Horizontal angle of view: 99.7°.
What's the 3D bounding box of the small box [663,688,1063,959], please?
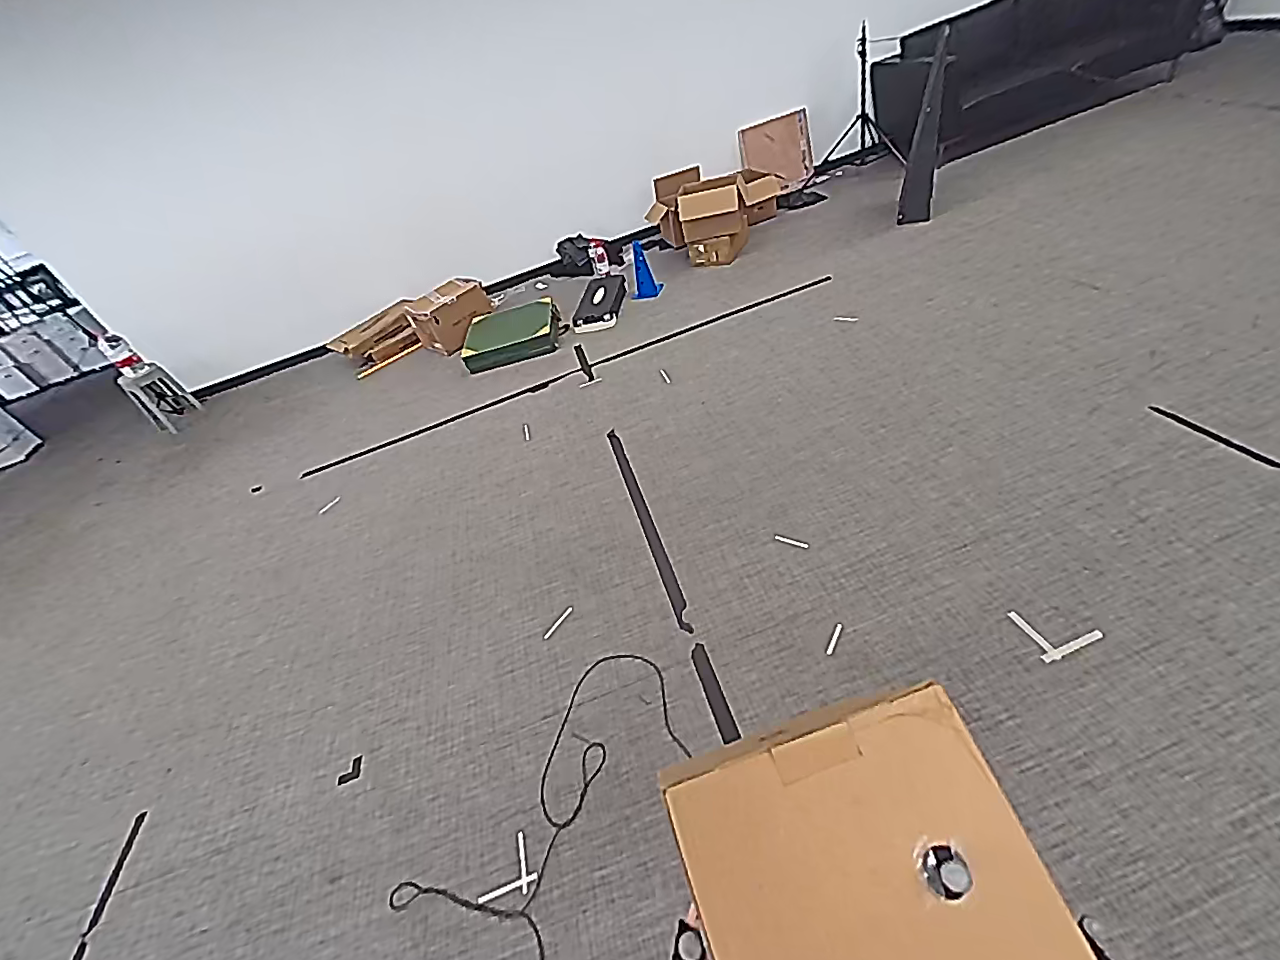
[{"bbox_3d":[0.119,0.251,0.344,0.168,0.179,0.176,-18,65,-7],"label":"small box"}]
